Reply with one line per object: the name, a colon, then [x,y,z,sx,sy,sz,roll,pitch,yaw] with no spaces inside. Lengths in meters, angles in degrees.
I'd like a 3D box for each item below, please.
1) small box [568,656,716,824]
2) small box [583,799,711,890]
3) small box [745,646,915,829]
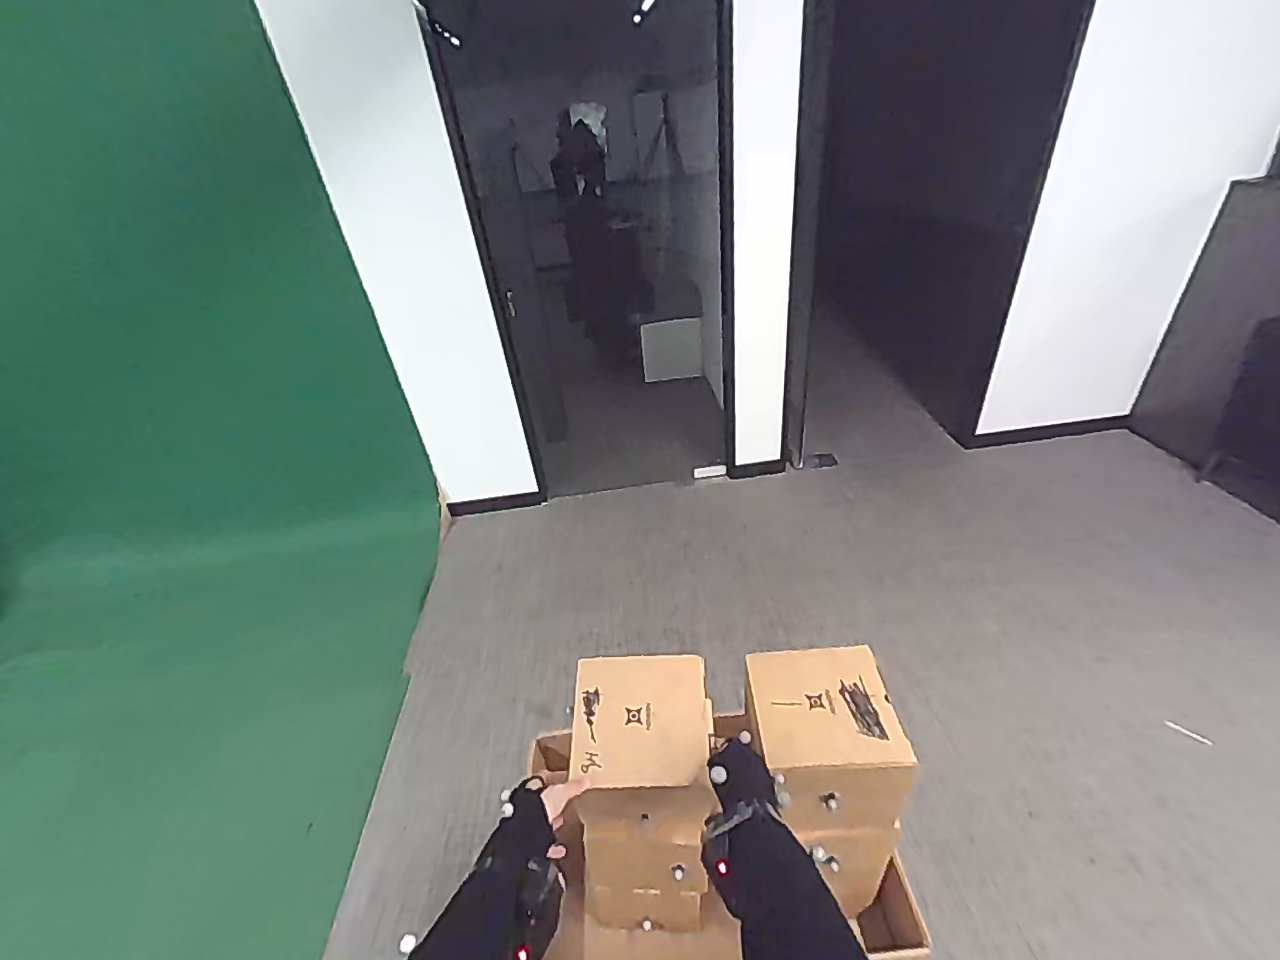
small box: [0.003,0.358,0.743,0.179,0.176,0.168,-1,45,1]
small box: [0.016,0.506,0.839,0.179,0.176,0.168,0,34,5]
small box: [0.240,0.349,0.734,0.179,0.176,0.168,-5,34,4]
